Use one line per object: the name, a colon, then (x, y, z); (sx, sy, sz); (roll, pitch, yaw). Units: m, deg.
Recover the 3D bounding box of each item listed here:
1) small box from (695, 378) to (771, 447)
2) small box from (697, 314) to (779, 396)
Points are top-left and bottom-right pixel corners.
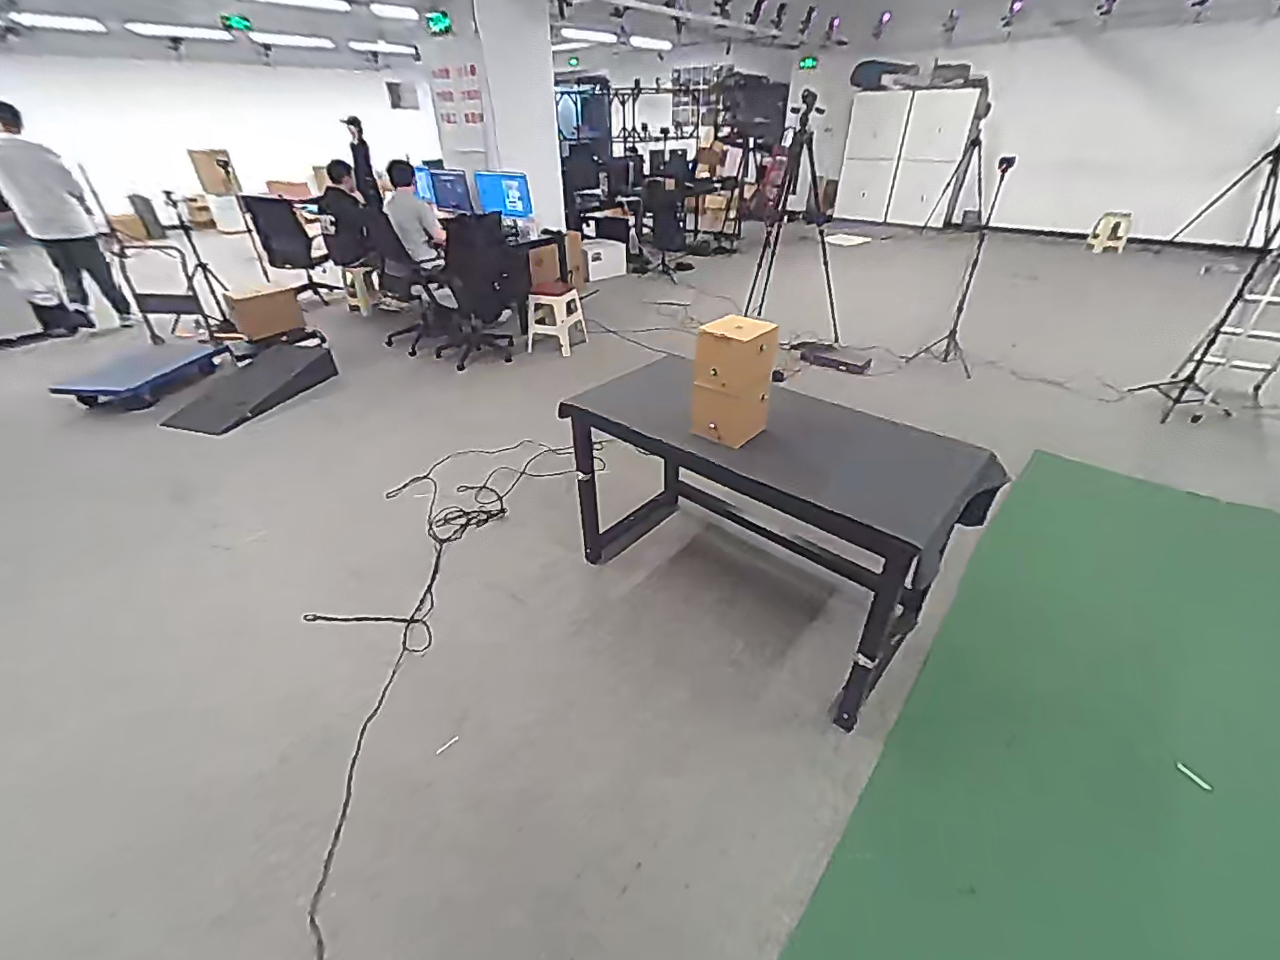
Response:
small box: (0.276, -0.225, 1.642); (0.168, 0.176, 0.179); (24, 40, 34)
small box: (0.275, -0.361, 1.554); (0.168, 0.176, 0.179); (25, 41, 33)
